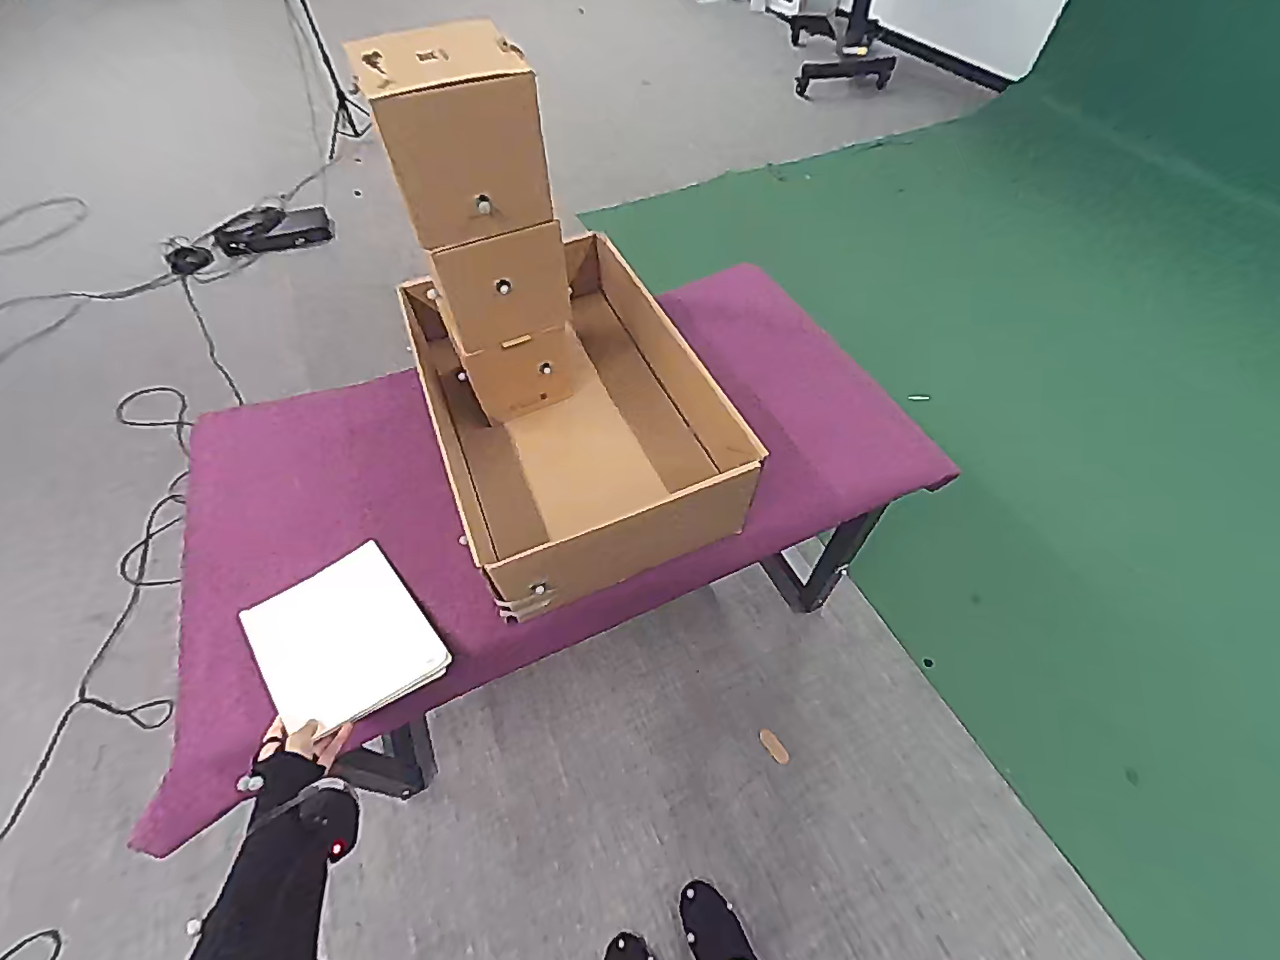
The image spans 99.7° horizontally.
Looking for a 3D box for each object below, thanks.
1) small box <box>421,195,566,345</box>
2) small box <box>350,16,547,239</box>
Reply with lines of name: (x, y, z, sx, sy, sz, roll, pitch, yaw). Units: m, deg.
small box: (-0.216, -0.331, 0.793, 0.179, 0.176, 0.168, -23, 59, -14)
small box: (-0.220, -0.425, 0.659, 0.179, 0.176, 0.168, -20, 58, -14)
